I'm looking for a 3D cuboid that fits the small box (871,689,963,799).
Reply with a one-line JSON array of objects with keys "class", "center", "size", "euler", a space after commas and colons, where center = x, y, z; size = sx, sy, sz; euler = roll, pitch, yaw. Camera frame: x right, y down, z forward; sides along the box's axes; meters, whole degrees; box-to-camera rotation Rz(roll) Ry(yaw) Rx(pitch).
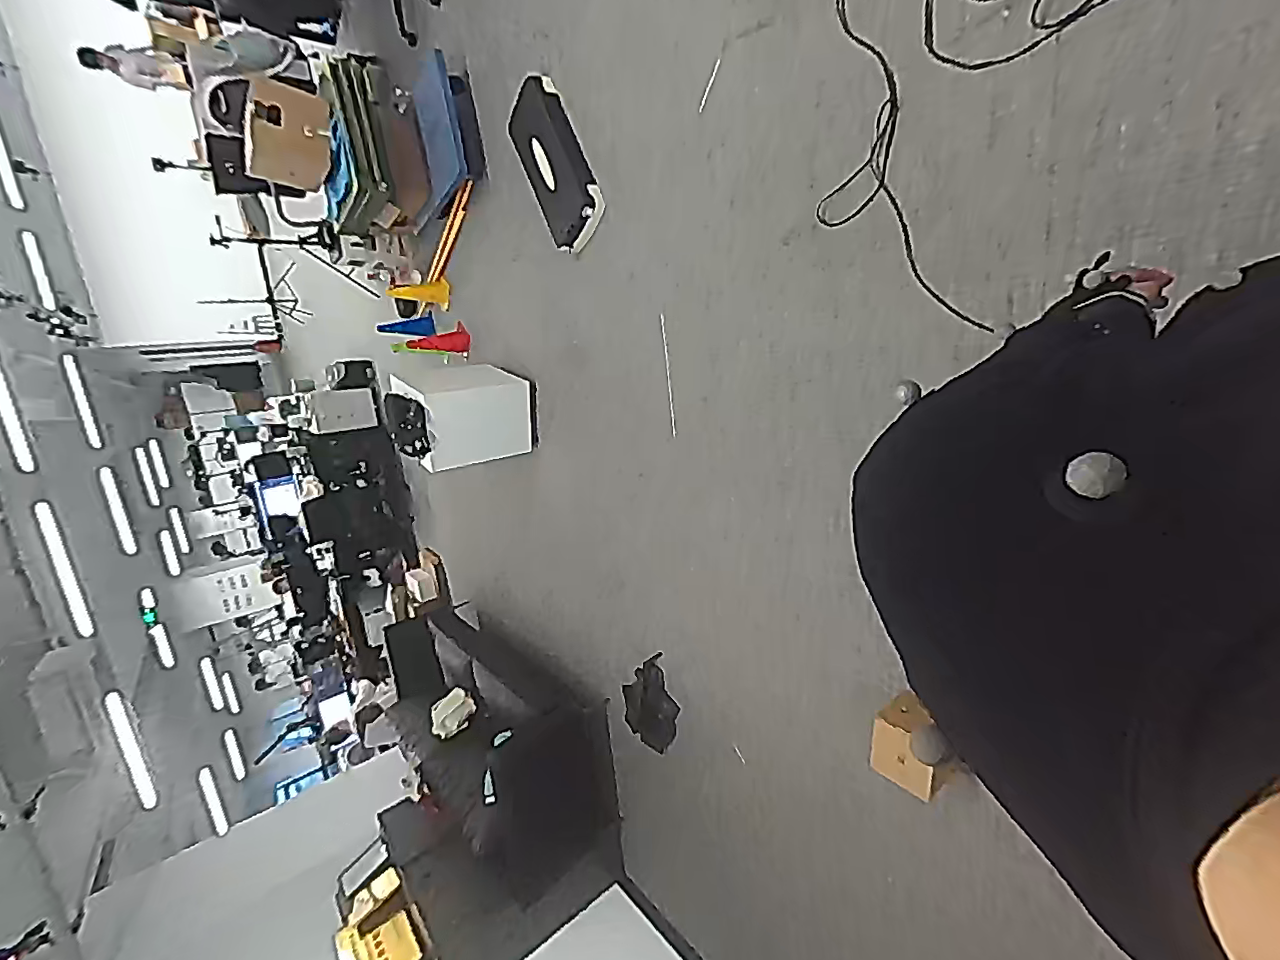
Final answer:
[{"class": "small box", "center": [0.758, 0.710, 1.480], "size": [0.168, 0.176, 0.179], "euler": [17, 117, 50]}]
